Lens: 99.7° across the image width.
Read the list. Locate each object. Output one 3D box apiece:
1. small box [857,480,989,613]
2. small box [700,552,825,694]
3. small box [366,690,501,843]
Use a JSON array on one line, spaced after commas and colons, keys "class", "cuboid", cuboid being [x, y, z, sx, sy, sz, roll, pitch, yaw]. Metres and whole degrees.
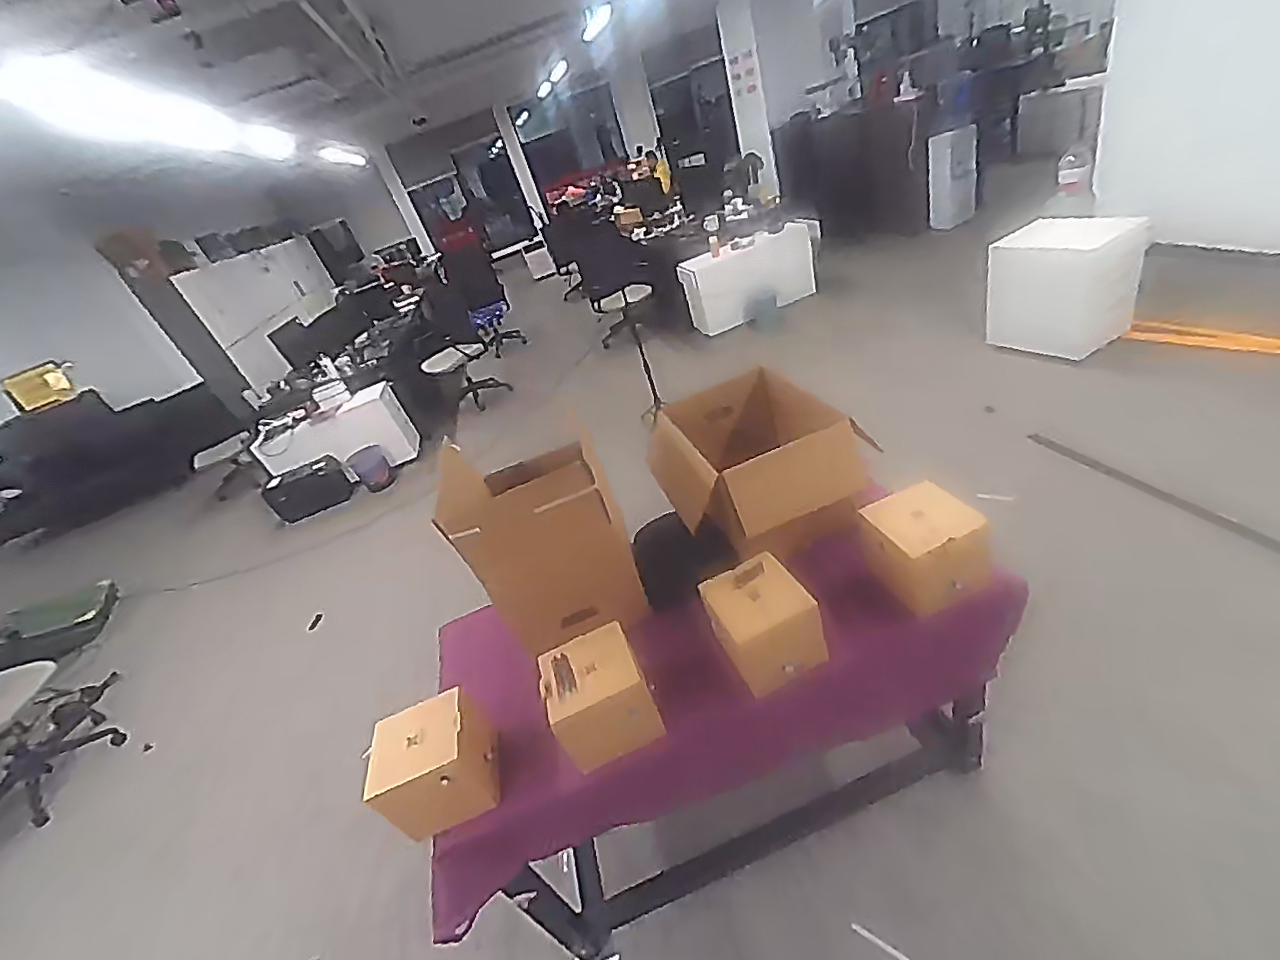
[{"class": "small box", "cuboid": [0.570, 0.134, 1.097, 0.168, 0.176, 0.179, -24, 31, -2]}, {"class": "small box", "cuboid": [0.242, 0.282, 1.071, 0.168, 0.176, 0.179, -26, 33, -7]}, {"class": "small box", "cuboid": [-0.386, 0.549, 1.037, 0.179, 0.176, 0.168, -23, 31, -5]}]
